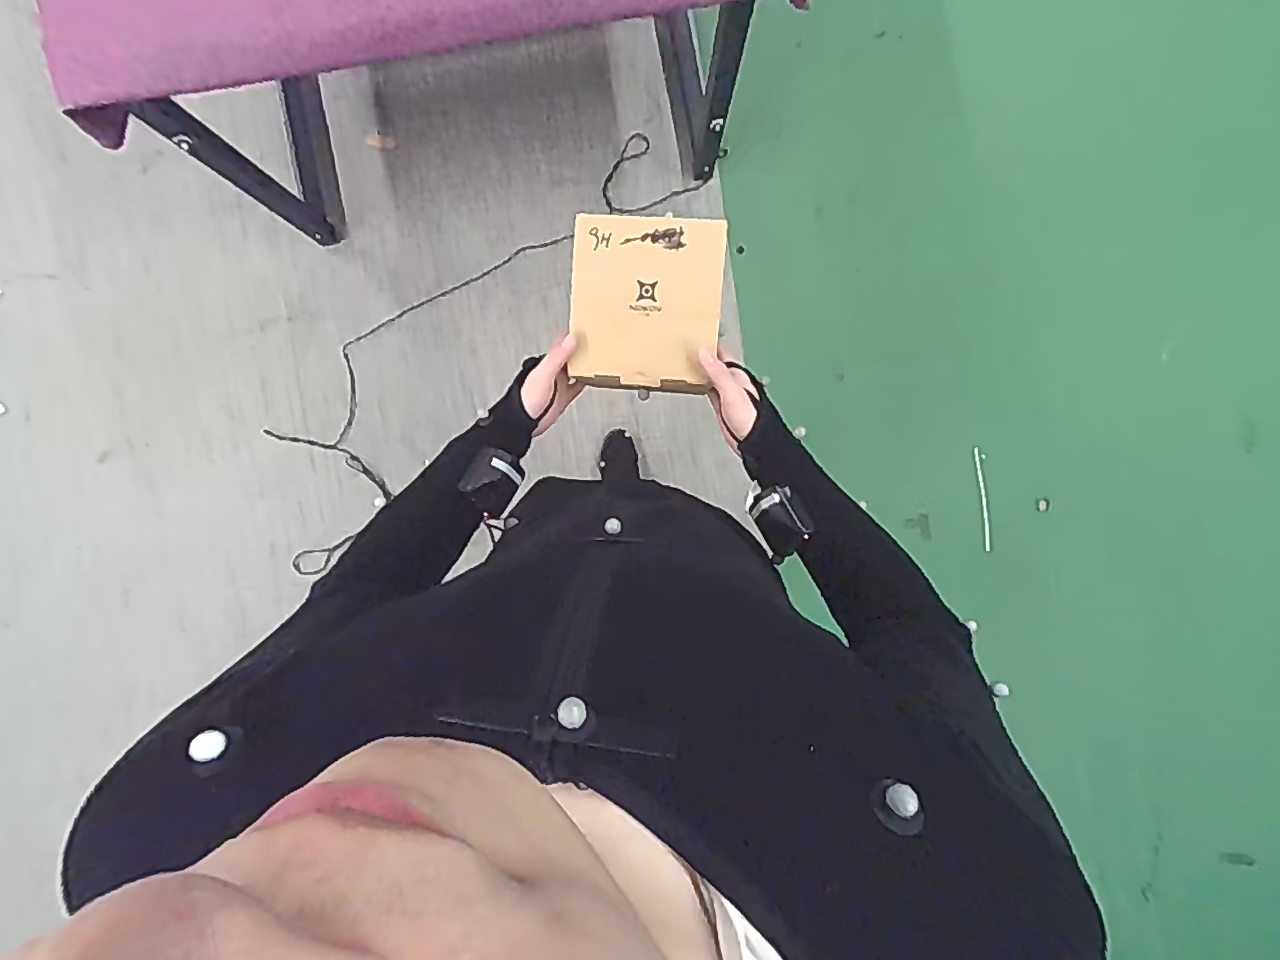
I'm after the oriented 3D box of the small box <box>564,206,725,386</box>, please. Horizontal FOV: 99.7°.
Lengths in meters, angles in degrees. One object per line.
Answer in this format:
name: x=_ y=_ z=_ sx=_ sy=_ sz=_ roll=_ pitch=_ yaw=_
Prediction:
small box: x=0.010 y=-0.211 z=0.662 sx=0.168 sy=0.176 sz=0.179 roll=5 pitch=97 yaw=4
